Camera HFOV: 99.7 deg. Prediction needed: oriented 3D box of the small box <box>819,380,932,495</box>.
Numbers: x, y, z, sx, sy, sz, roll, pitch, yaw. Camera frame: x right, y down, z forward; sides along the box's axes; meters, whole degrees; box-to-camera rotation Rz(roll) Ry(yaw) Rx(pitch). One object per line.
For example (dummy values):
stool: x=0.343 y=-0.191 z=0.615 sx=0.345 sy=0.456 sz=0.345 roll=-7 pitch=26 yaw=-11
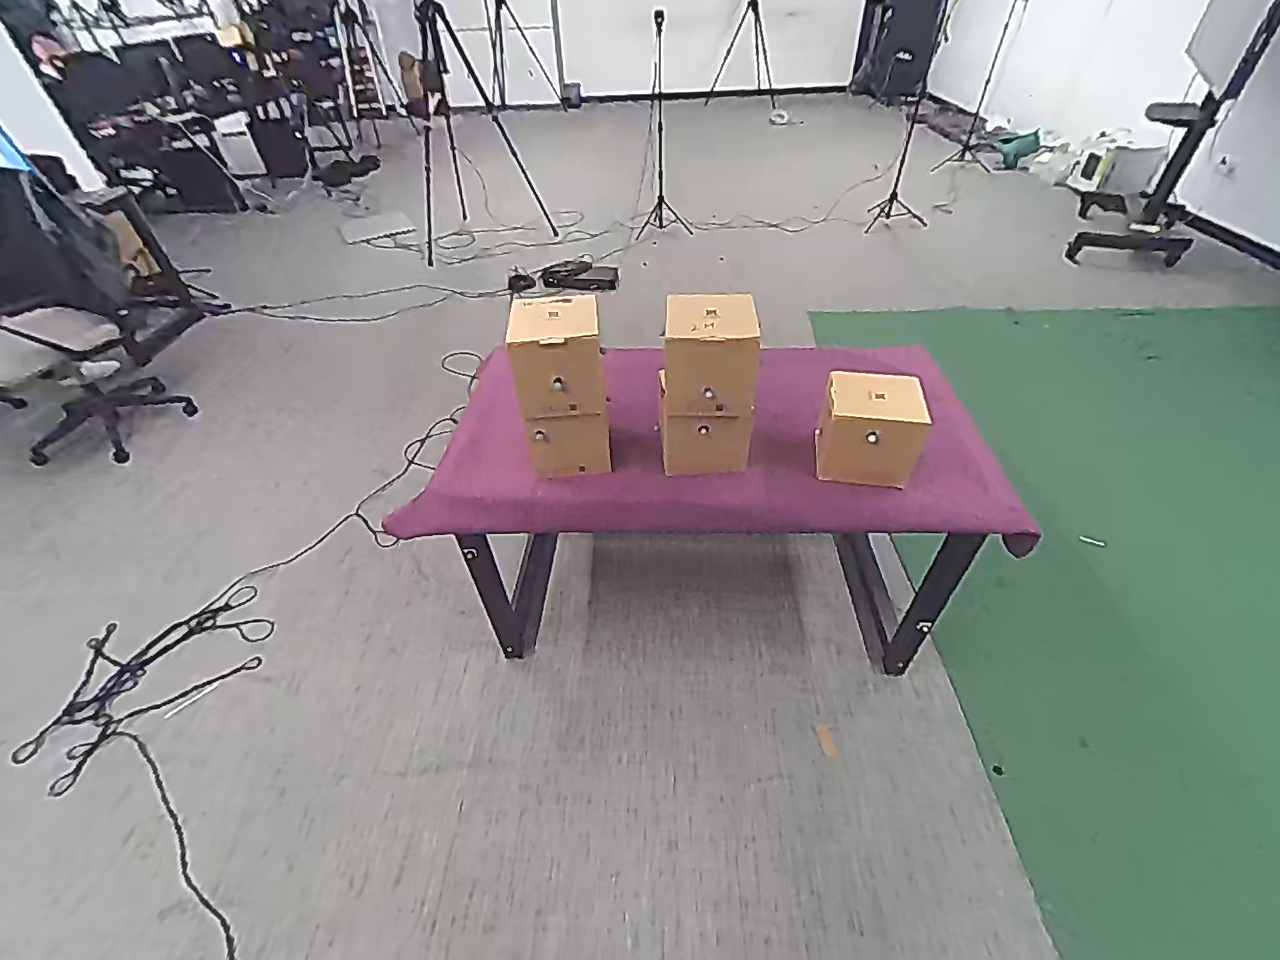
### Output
small box: x=0.475 y=-0.086 z=1.117 sx=0.179 sy=0.176 sz=0.168 roll=6 pitch=42 yaw=12

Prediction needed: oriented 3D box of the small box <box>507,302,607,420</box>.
small box: x=-0.154 y=-0.229 z=1.059 sx=0.168 sy=0.176 sz=0.179 roll=-4 pitch=43 yaw=-2

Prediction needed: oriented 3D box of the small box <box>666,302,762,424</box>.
small box: x=0.137 y=-0.227 z=1.044 sx=0.168 sy=0.176 sz=0.179 roll=1 pitch=43 yaw=5

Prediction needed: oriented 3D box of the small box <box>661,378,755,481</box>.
small box: x=0.138 y=-0.111 z=1.162 sx=0.179 sy=0.176 sz=0.168 roll=-3 pitch=43 yaw=-2
